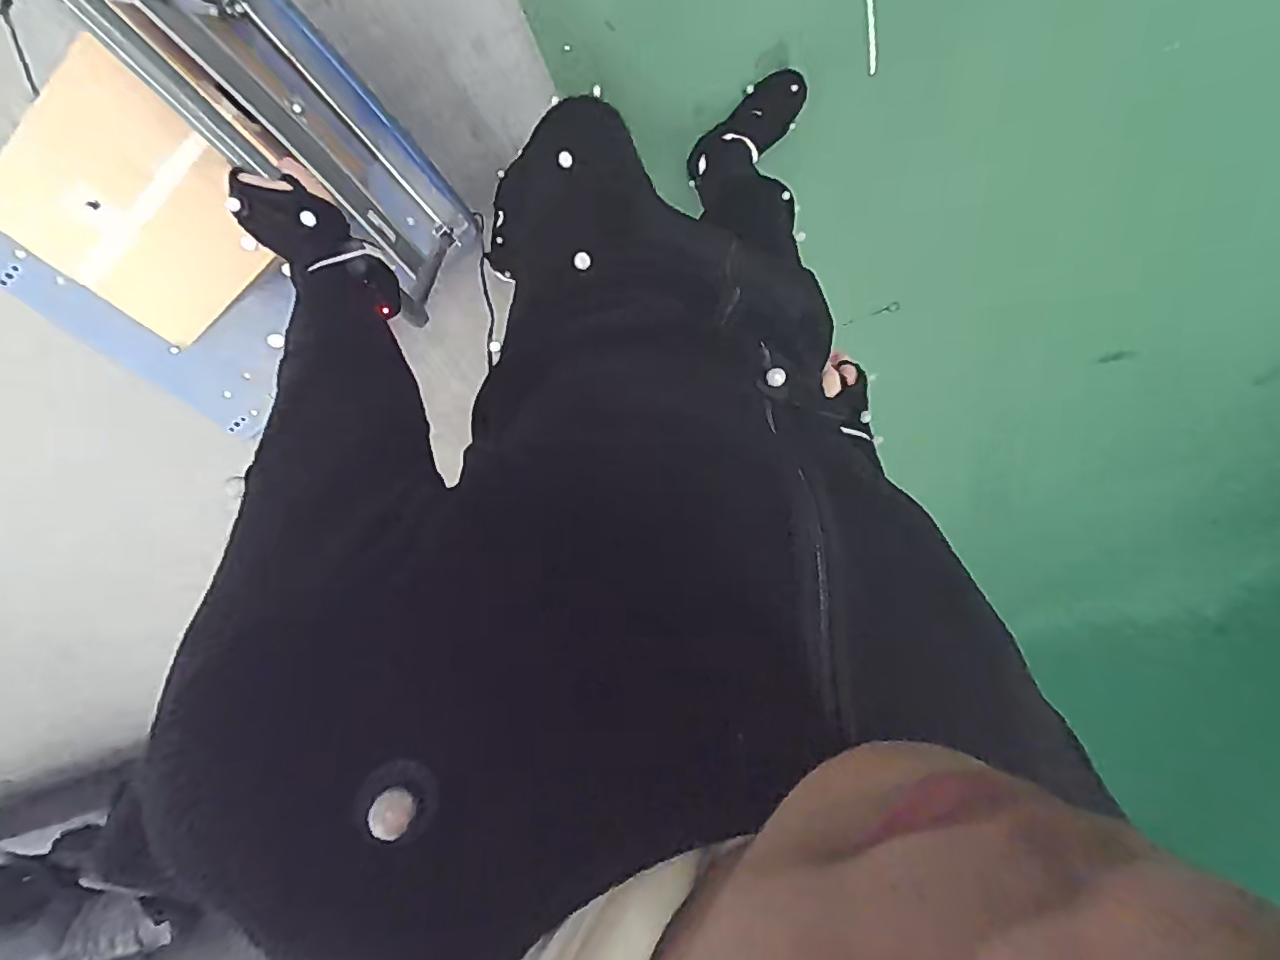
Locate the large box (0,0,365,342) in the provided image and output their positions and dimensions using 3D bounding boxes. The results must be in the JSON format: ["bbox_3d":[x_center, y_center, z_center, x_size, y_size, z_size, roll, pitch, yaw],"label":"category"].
[{"bbox_3d":[-0.770,-0.535,0.950,0.408,0.320,0.320,-34,126,16],"label":"large box"}]
